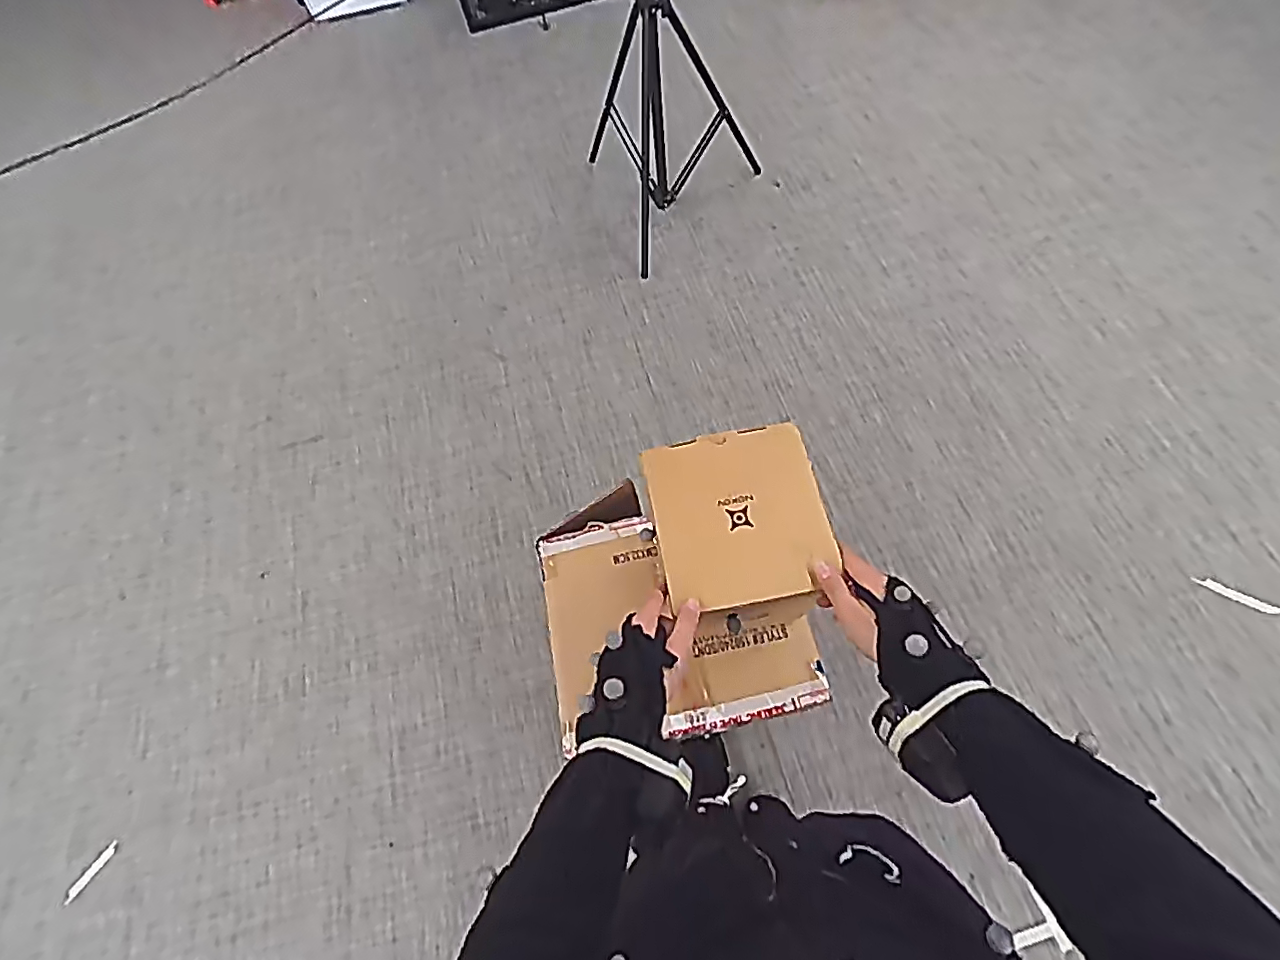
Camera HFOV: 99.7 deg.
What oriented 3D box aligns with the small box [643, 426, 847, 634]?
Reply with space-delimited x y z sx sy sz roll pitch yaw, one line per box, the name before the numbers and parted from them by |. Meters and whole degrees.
small box | 0.104 0.067 0.600 0.168 0.176 0.179 -12 66 0
